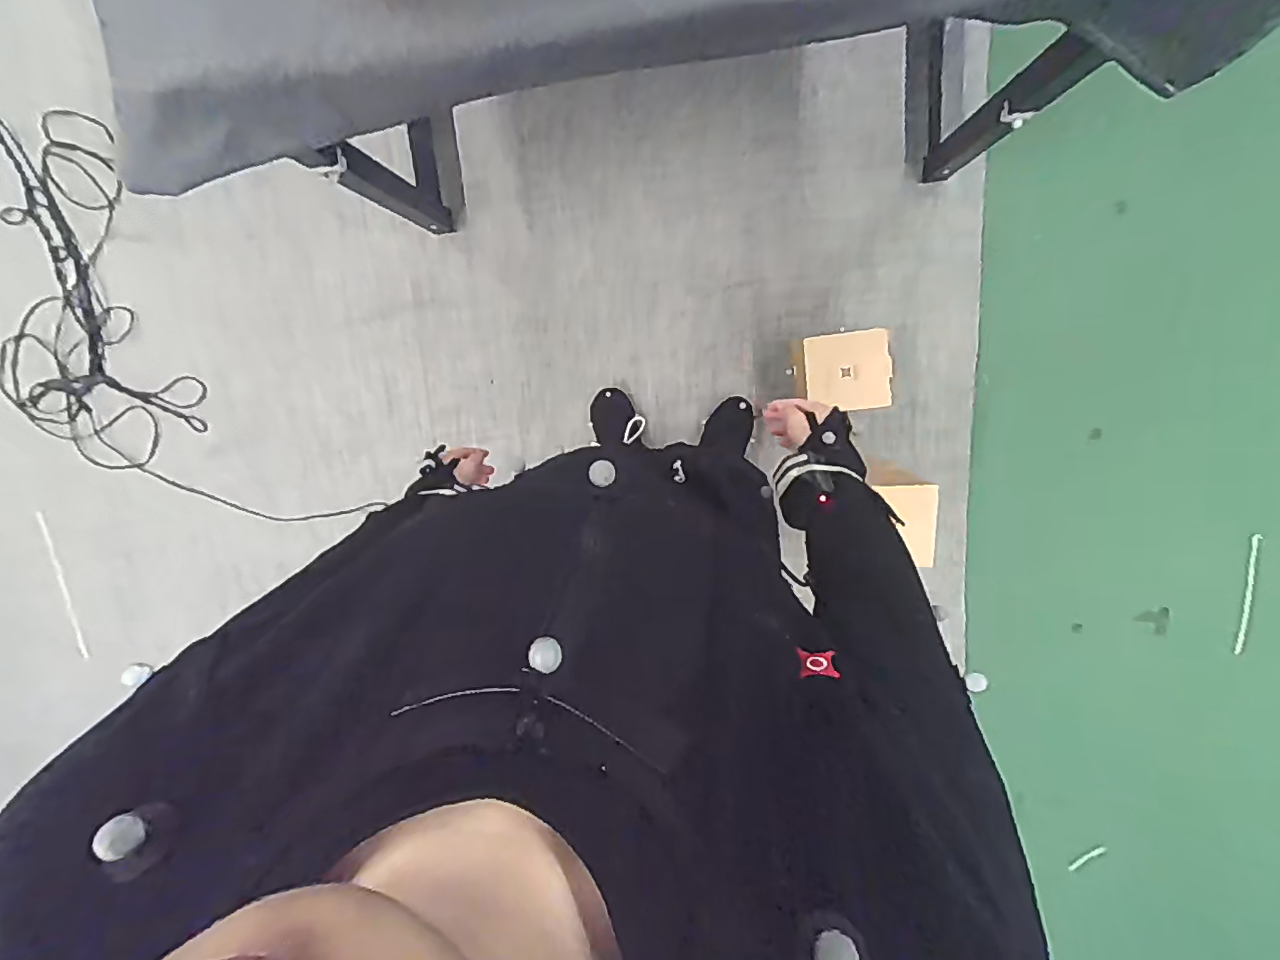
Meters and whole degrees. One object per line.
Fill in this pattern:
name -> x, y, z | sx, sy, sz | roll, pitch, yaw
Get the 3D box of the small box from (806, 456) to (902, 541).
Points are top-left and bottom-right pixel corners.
small box -> 0.488, 0.040, 1.258 | 0.179, 0.176, 0.168 | -2, 102, 6

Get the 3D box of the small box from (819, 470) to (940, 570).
small box -> 0.477, 0.075, 1.099 | 0.179, 0.176, 0.168 | -2, 102, 5

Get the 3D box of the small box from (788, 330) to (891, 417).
small box -> 0.438, -0.239, 1.206 | 0.179, 0.176, 0.168 | -6, 100, 6
